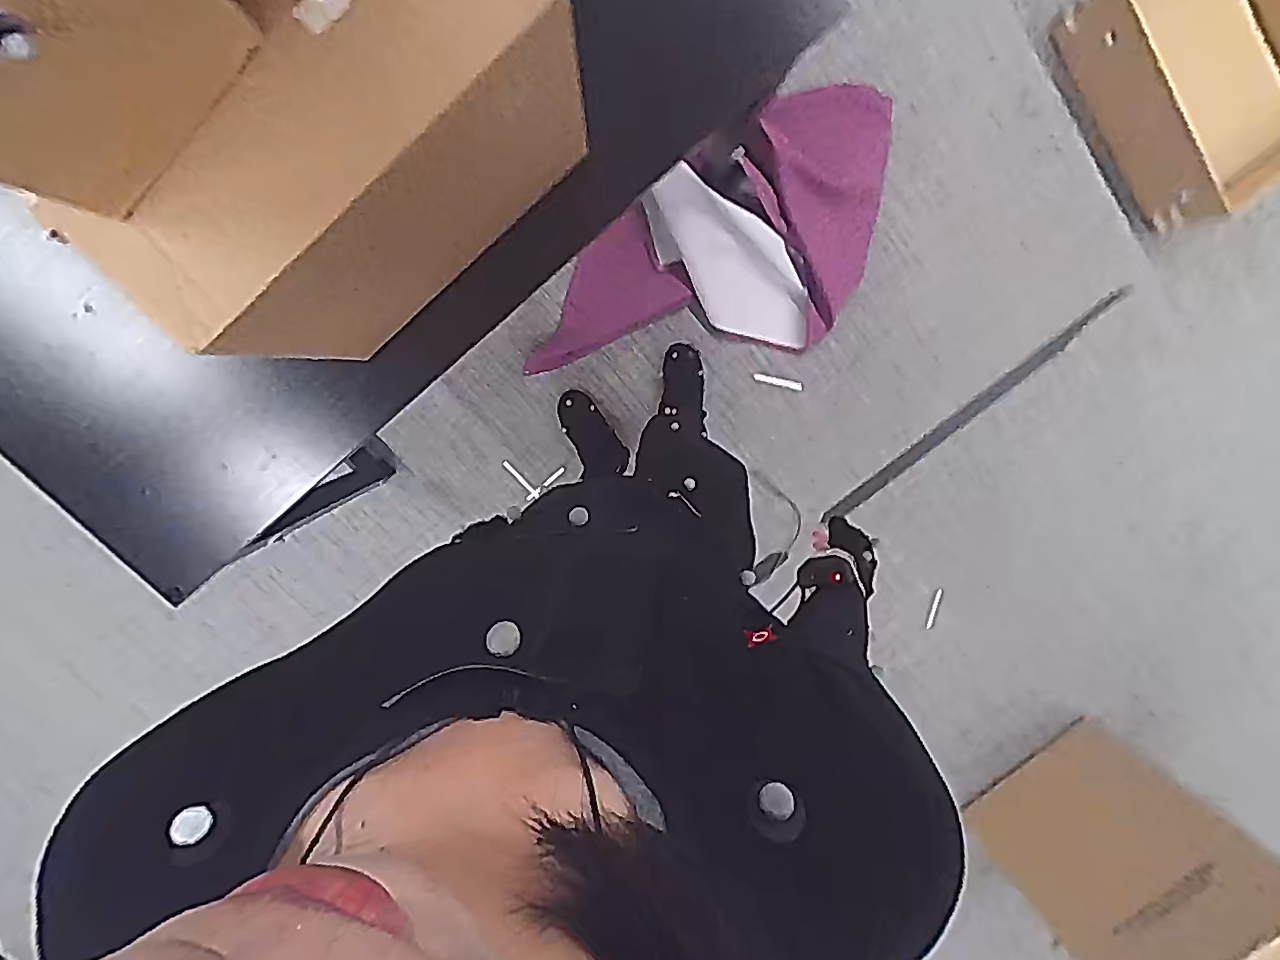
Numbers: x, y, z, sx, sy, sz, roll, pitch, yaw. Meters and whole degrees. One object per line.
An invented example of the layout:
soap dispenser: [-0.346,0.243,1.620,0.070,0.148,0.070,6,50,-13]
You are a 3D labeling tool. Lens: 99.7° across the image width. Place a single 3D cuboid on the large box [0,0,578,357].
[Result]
large box: [-0.311,-0.374,0.527,0.408,0.320,0.320,-42,101,4]
